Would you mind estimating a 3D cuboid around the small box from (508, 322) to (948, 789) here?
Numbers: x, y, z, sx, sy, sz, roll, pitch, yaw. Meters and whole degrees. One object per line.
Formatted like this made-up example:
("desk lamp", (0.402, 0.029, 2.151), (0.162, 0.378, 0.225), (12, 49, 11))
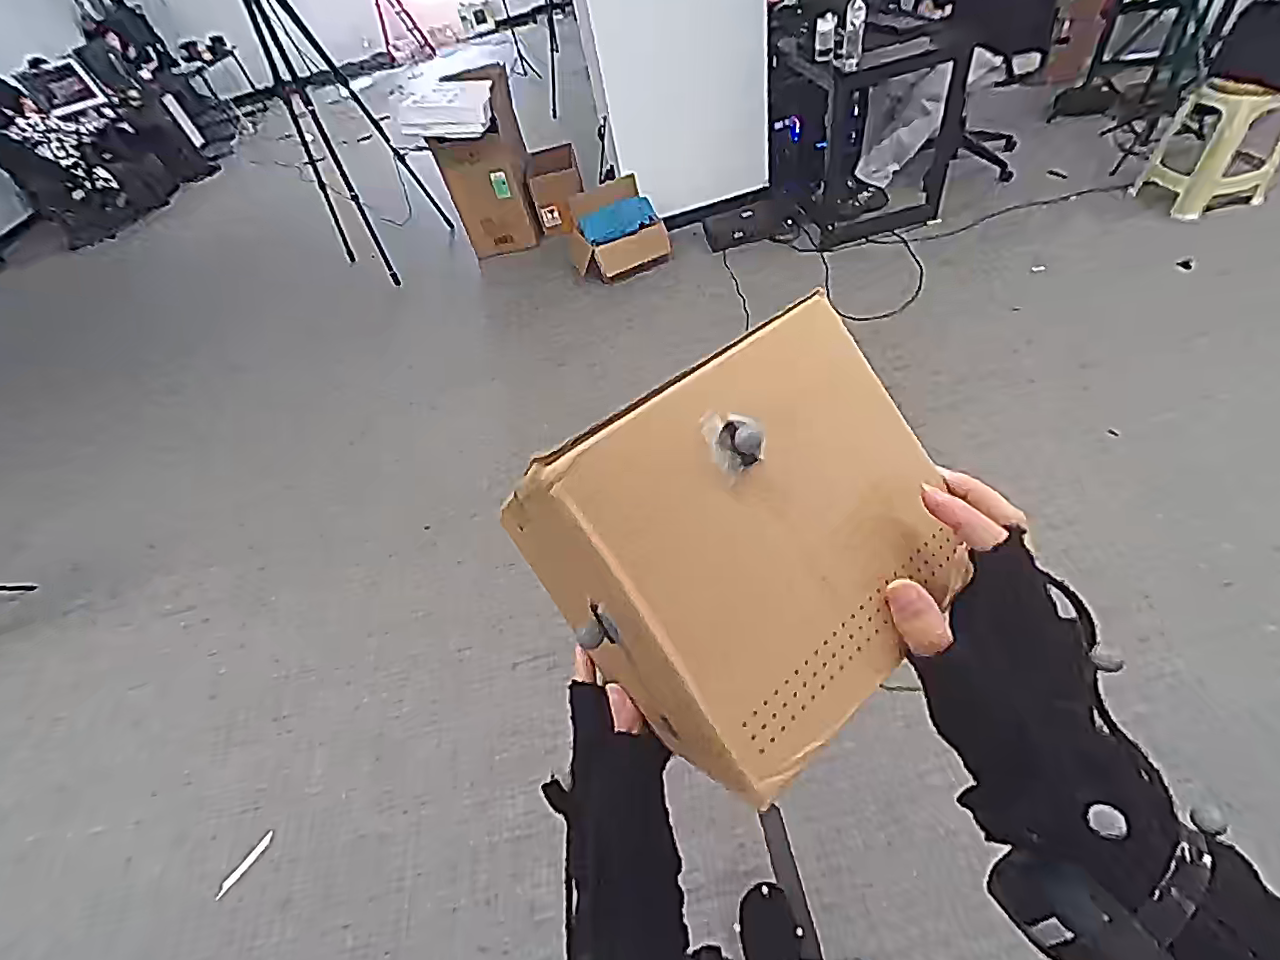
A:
("small box", (0.042, 0.043, 0.332), (0.179, 0.168, 0.176), (-34, 91, -20))
